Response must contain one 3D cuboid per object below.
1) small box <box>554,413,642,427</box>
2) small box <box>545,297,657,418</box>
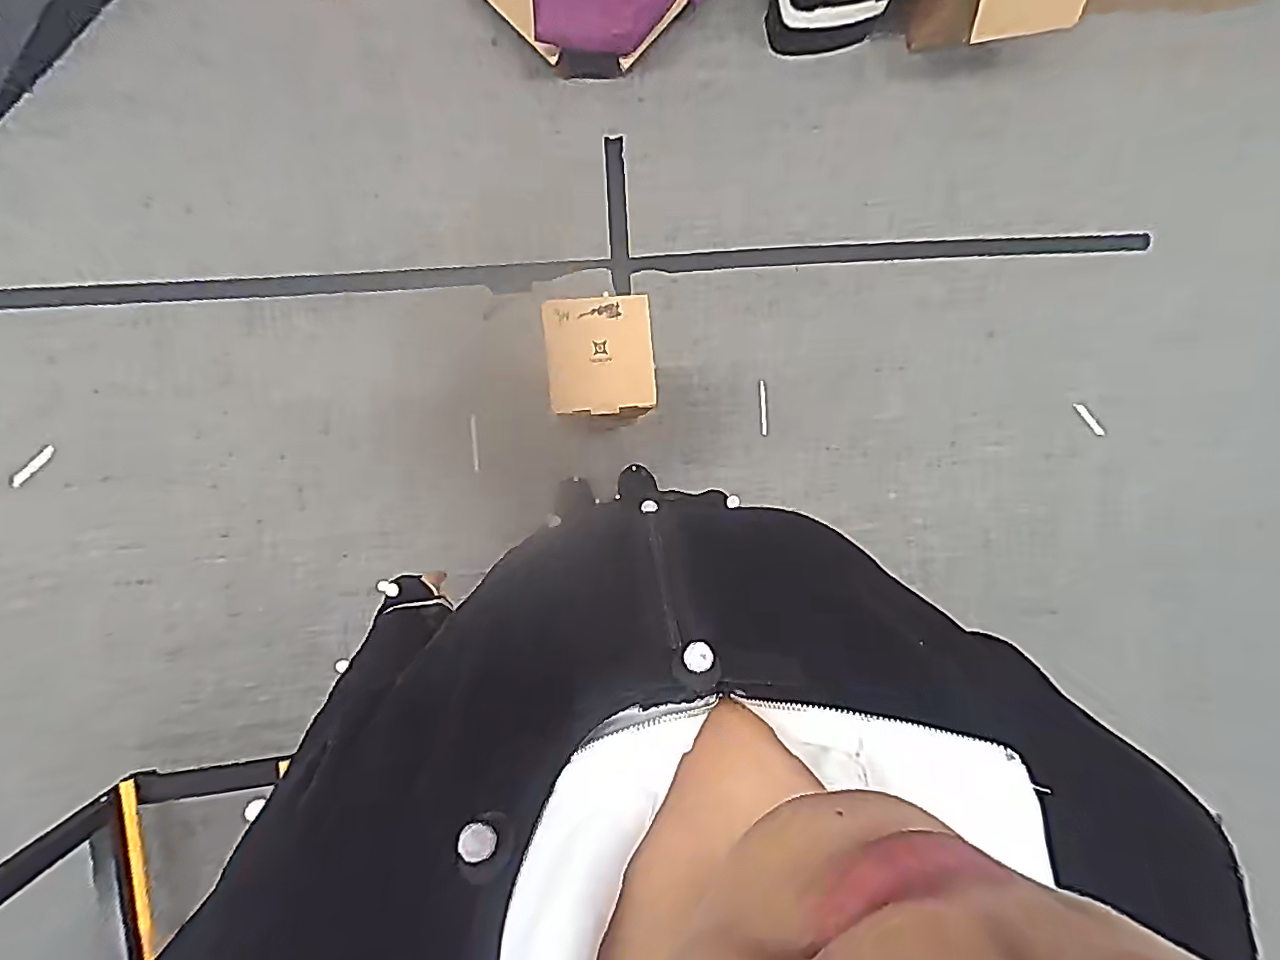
[{"bbox_3d":[-0.086,-0.197,1.075,0.168,0.176,0.179,-1,94,-5],"label":"small box"},{"bbox_3d":[-0.064,-0.197,0.913,0.168,0.176,0.179,-5,94,-5],"label":"small box"}]
